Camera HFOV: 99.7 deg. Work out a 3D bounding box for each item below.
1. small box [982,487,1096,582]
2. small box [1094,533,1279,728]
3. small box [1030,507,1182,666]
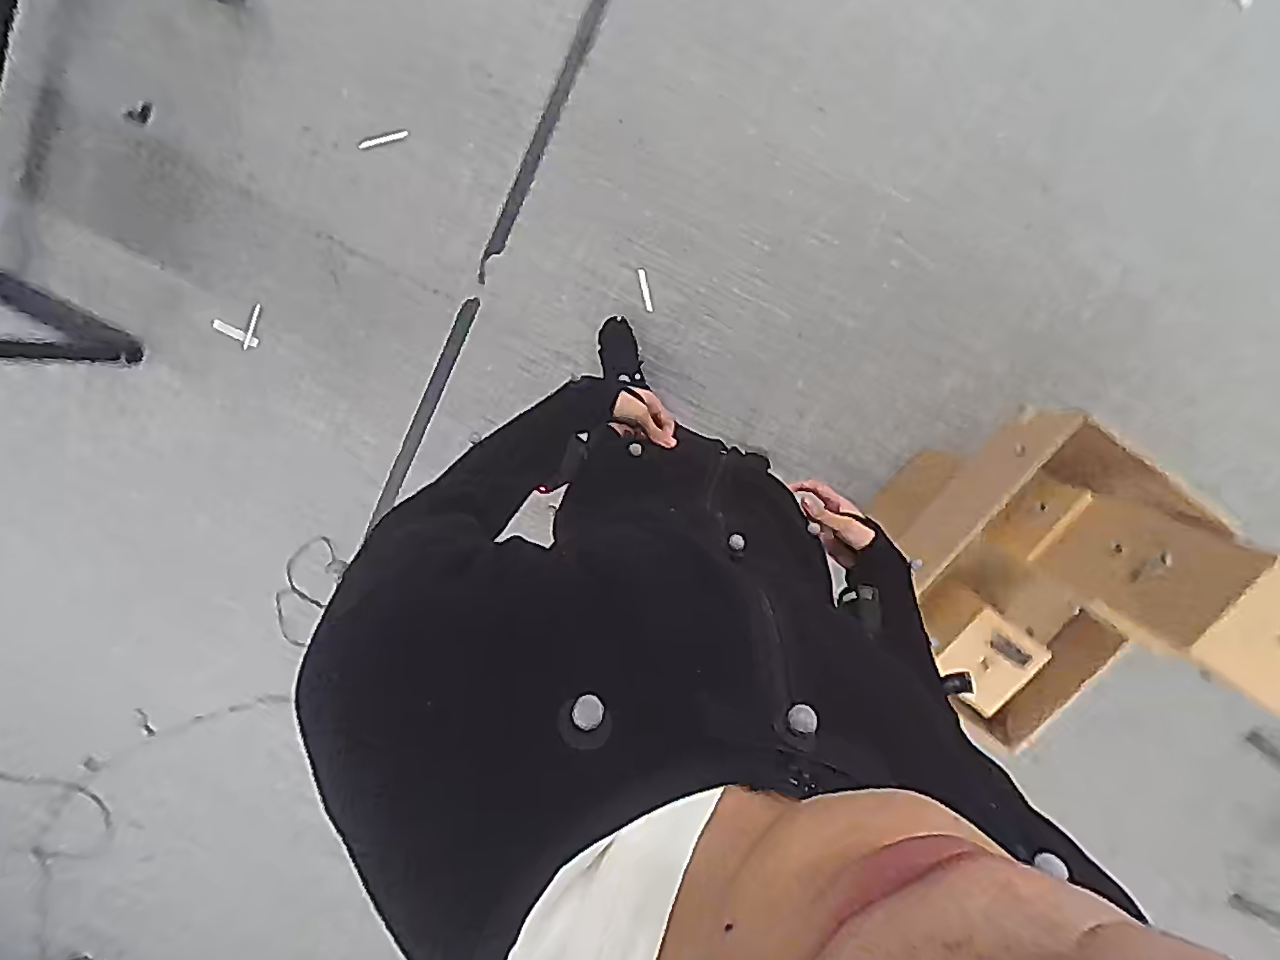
[{"bbox_3d":[0.841,0.130,1.084,0.179,0.176,0.168,35,103,-3],"label":"small box"},{"bbox_3d":[0.819,0.199,0.764,0.179,0.176,0.168,34,101,-3],"label":"small box"},{"bbox_3d":[0.831,0.171,0.925,0.168,0.176,0.179,36,103,-3],"label":"small box"}]
